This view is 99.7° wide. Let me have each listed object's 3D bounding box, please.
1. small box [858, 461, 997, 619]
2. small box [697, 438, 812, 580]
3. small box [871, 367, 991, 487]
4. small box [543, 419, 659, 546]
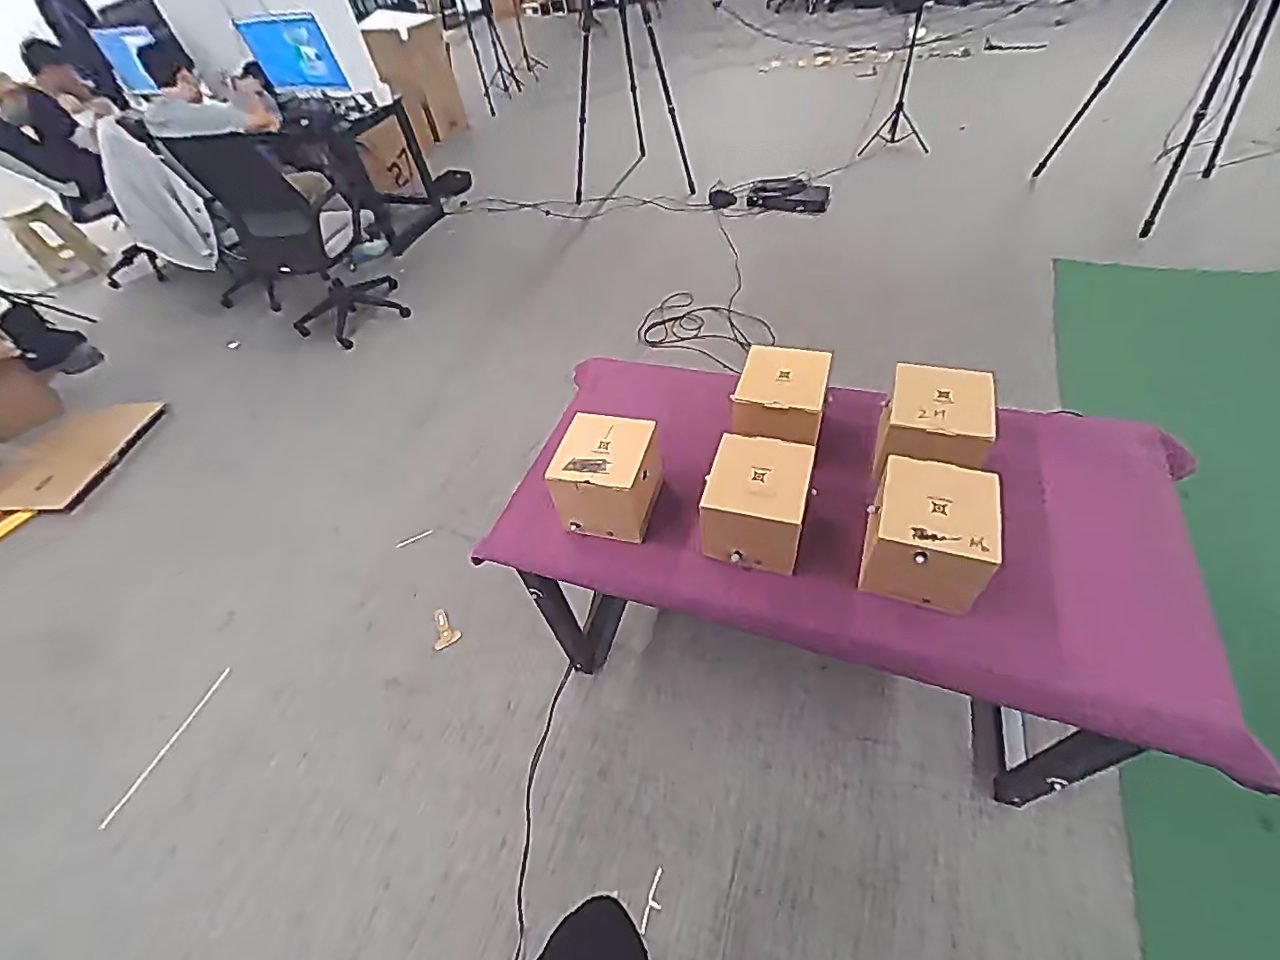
[{"bbox_3d":[0.465,0.098,0.891,0.168,0.176,0.179,12,52,20],"label":"small box"},{"bbox_3d":[0.206,0.052,0.978,0.168,0.176,0.179,10,53,19],"label":"small box"},{"bbox_3d":[0.549,-0.088,1.033,0.168,0.176,0.179,11,54,19],"label":"small box"},{"bbox_3d":[-0.065,0.006,1.059,0.168,0.176,0.179,8,50,16],"label":"small box"}]
